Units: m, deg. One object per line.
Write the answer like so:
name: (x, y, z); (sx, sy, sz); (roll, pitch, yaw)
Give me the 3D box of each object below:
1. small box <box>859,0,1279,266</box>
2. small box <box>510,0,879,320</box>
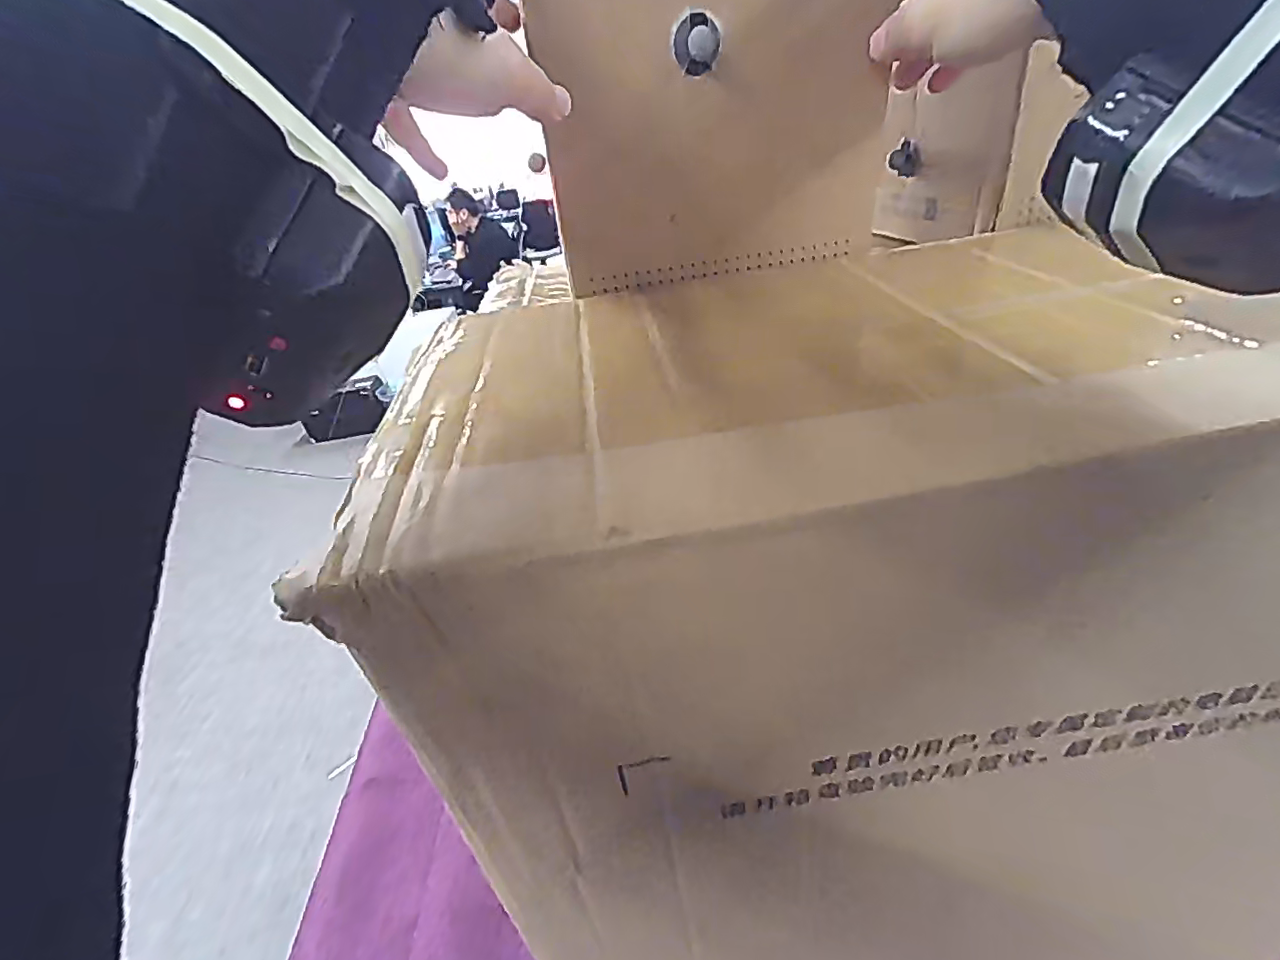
small box: (0.267, -0.257, 0.359); (0.179, 0.176, 0.168); (-14, 32, -4)
small box: (0.028, -0.209, 0.337); (0.179, 0.176, 0.168); (-8, 36, -3)
